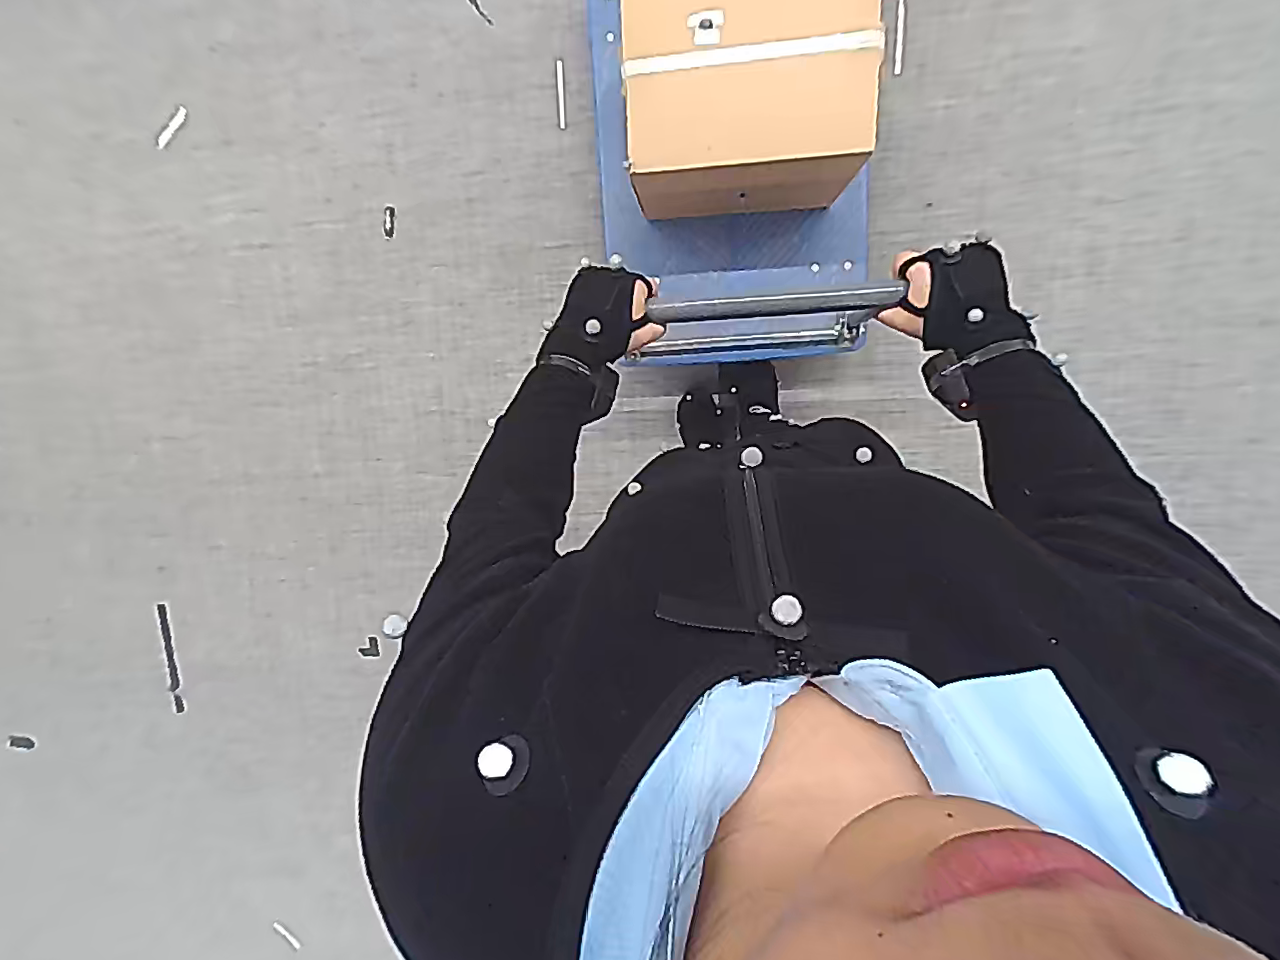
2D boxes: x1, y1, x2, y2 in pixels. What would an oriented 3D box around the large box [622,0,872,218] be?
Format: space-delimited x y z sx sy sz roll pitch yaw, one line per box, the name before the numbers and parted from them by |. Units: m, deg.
large box | 0.194 -0.718 1.032 0.408 0.320 0.320 -2 101 8
